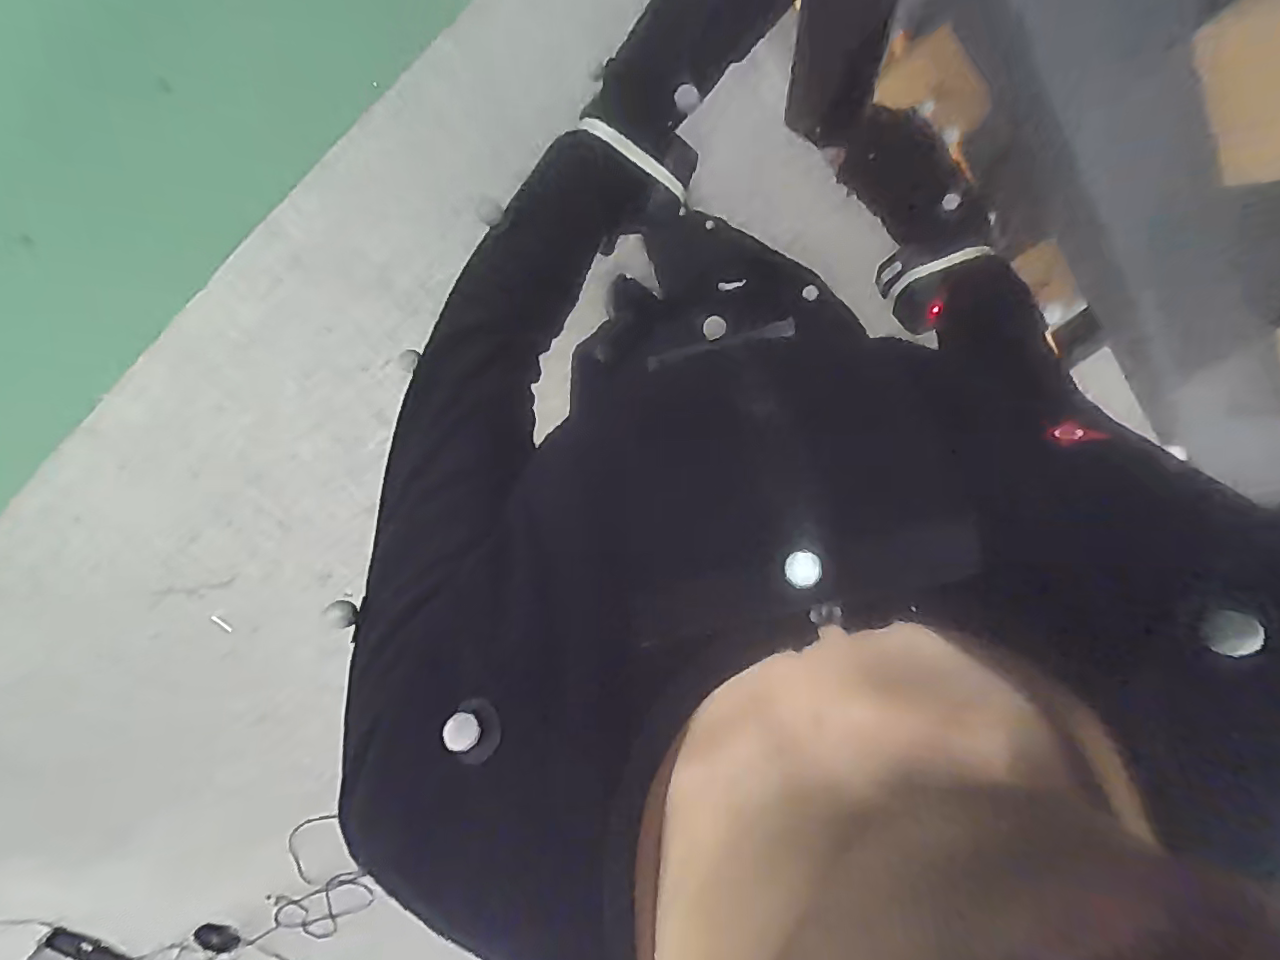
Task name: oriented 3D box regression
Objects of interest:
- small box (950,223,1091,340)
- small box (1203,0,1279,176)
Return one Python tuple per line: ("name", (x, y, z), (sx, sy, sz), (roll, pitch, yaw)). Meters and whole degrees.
("small box", (0.815, -0.433, 1.182), (0.179, 0.176, 0.168), (-34, 111, 12))
("small box", (0.696, -0.419, 0.505), (0.168, 0.176, 0.179), (-34, 110, 12))
